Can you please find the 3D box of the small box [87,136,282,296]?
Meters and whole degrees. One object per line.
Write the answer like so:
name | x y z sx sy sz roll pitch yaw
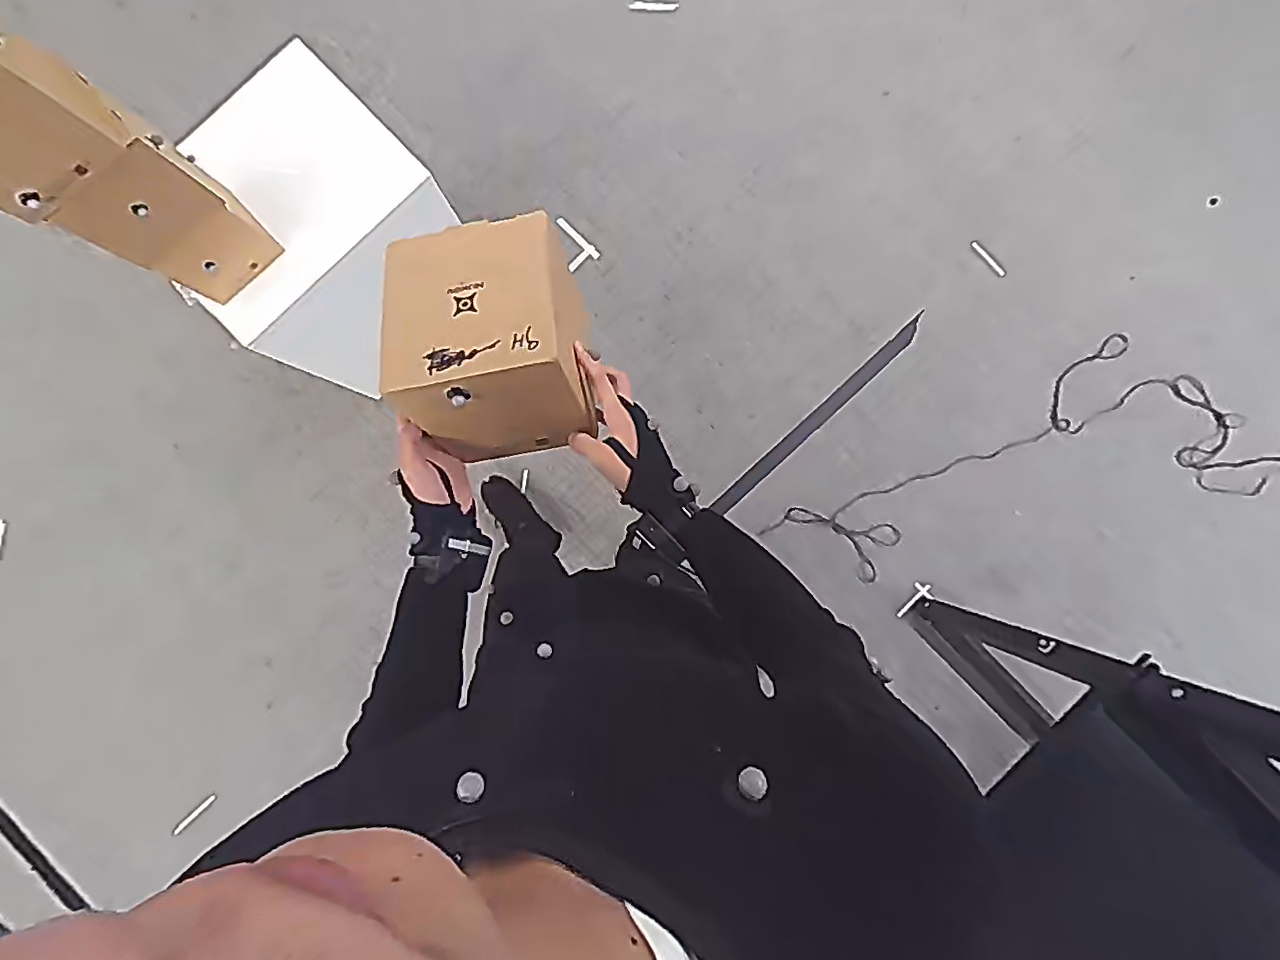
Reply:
small box | -0.815 -0.464 0.990 0.168 0.176 0.179 -43 88 -2

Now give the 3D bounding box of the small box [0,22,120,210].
small box | -0.815 -0.467 0.660 0.168 0.176 0.179 -40 87 -1

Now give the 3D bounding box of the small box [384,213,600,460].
small box | -0.143 -0.141 0.574 0.168 0.176 0.179 -9 68 5
